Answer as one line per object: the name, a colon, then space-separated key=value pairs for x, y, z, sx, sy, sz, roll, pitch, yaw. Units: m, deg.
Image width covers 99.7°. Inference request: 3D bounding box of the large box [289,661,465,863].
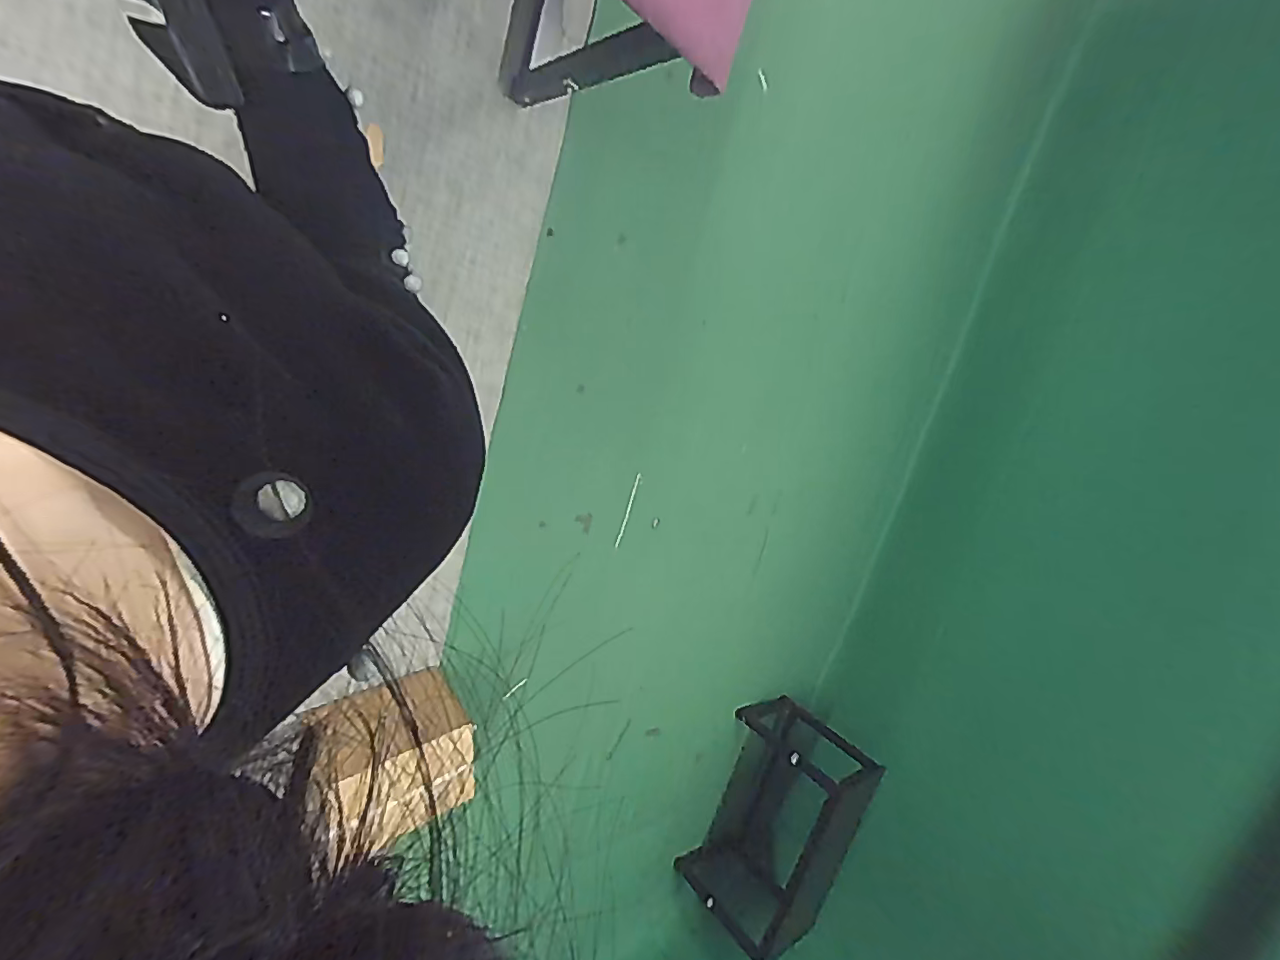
large box: x=-0.792 y=0.826 z=1.649 sx=0.408 sy=0.320 sz=0.320 roll=-12 pitch=118 yaw=-40
